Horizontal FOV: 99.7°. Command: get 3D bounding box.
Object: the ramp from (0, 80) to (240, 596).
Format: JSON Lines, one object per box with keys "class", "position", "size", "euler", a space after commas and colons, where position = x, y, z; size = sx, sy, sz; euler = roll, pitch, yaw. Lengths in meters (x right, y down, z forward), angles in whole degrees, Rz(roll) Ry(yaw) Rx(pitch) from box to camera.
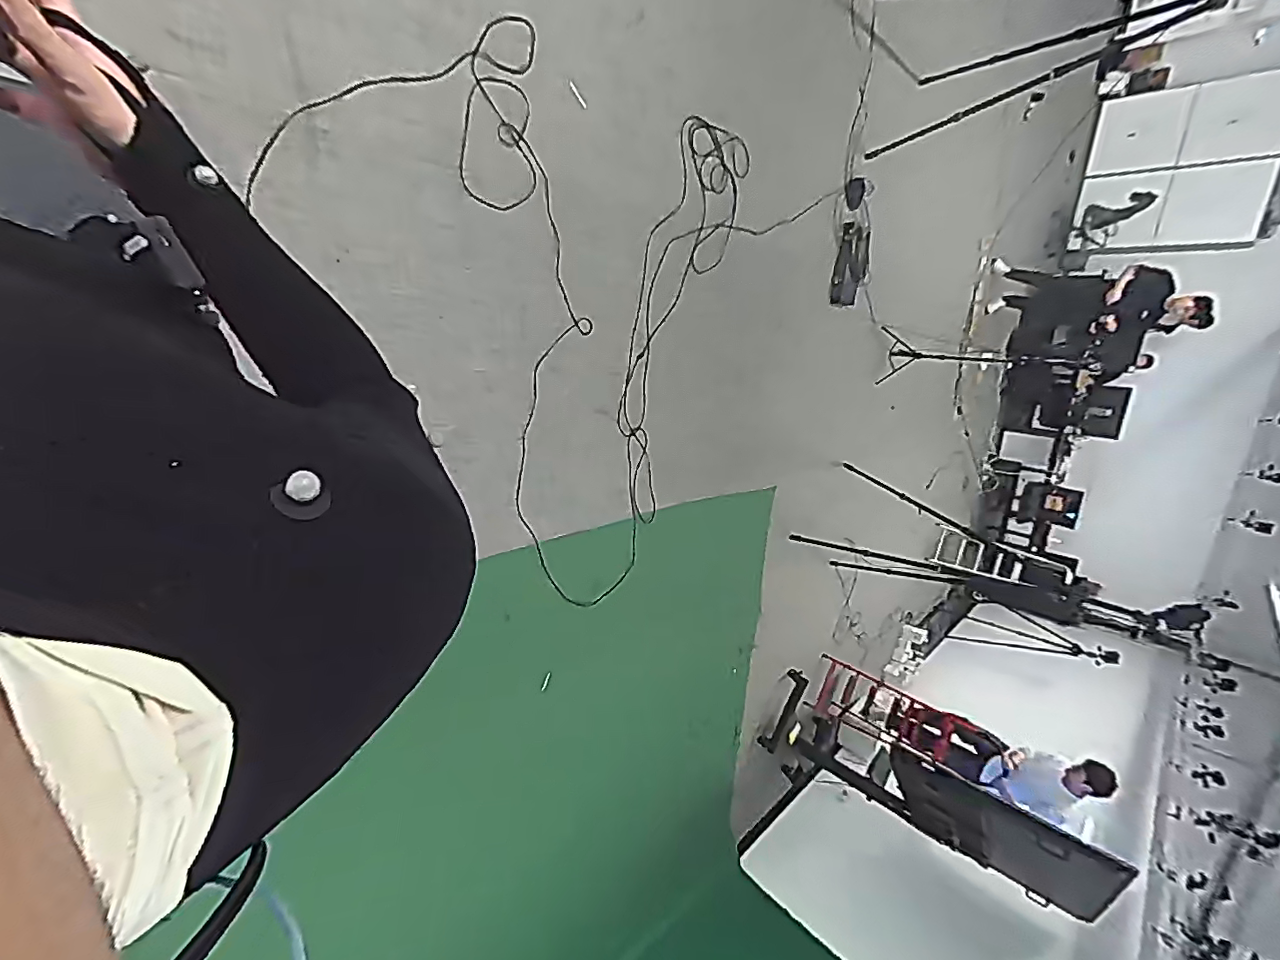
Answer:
{"class": "ramp", "position": [-1.212, -0.283, 1.109], "size": [0.509, 0.206, 0.991], "euler": [-14, 112, -41]}
